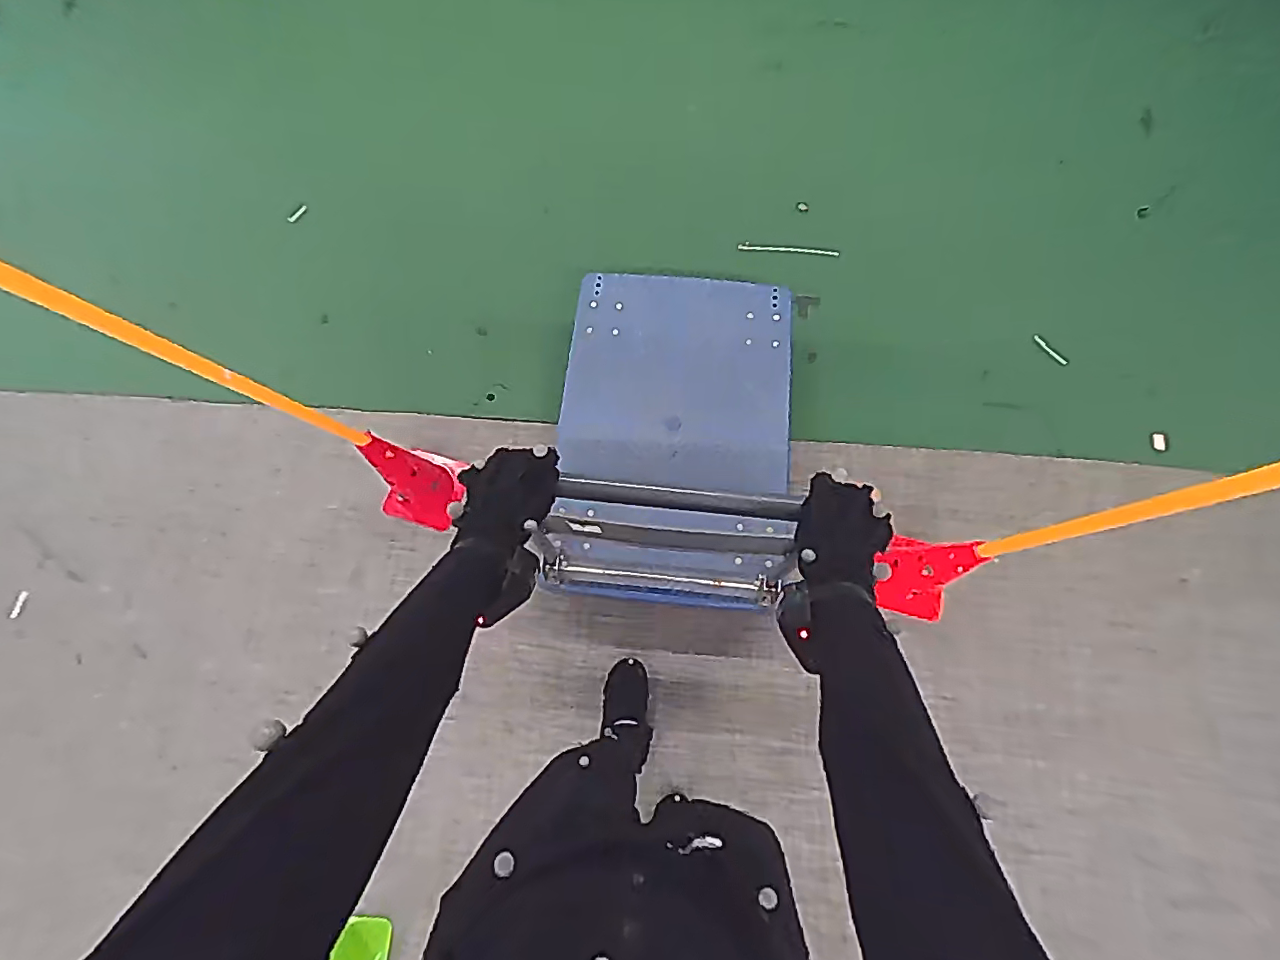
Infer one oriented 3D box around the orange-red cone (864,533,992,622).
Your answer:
[{"bbox_3d":[0.682,0.195,1.230,0.198,0.360,0.199,15,73,6],"label":"orange-red cone"}]
